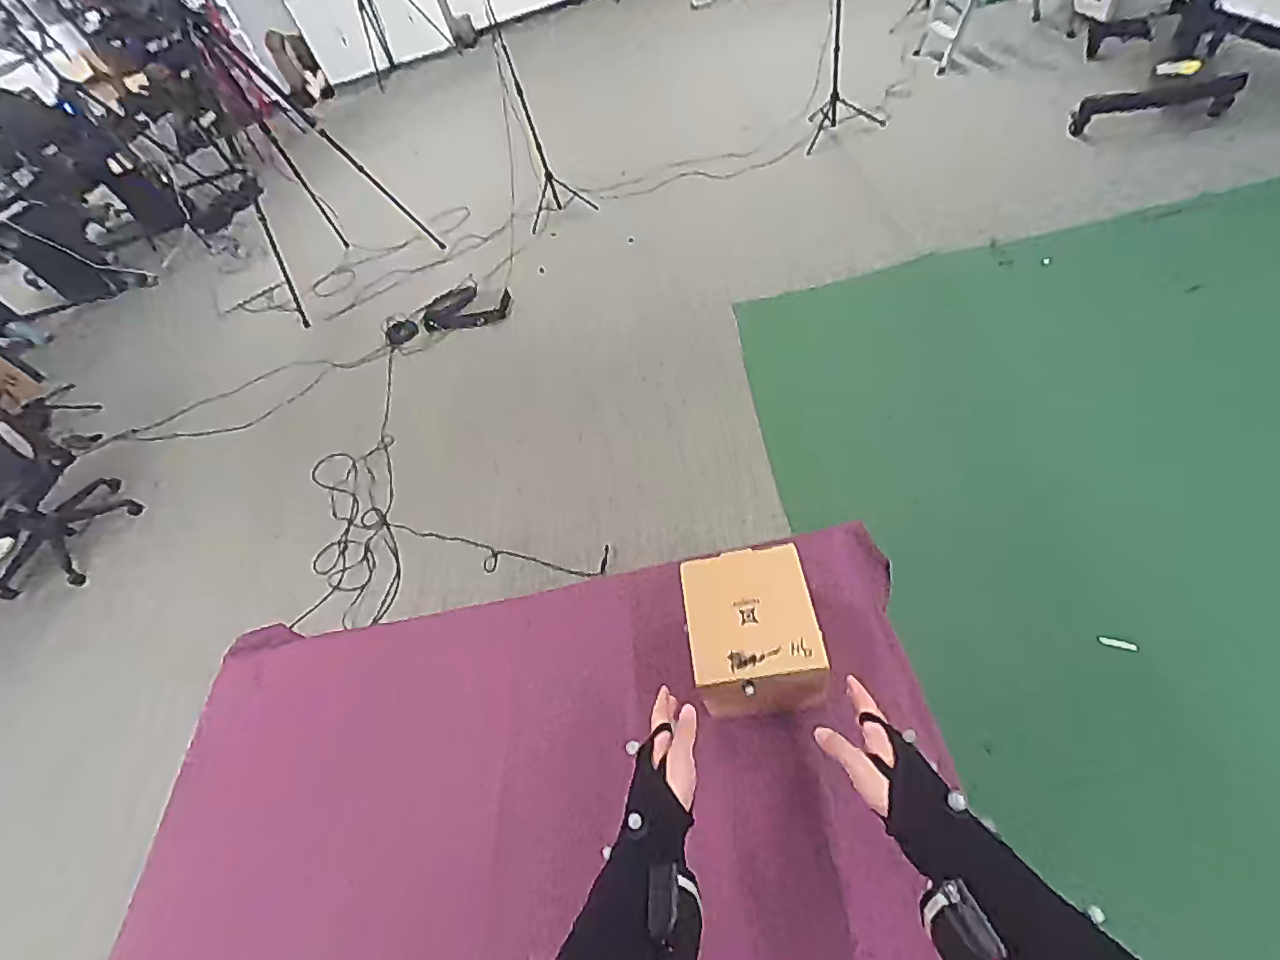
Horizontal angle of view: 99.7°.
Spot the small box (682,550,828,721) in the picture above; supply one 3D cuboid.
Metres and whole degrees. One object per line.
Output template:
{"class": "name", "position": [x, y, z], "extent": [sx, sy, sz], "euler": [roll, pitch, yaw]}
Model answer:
{"class": "small box", "position": [0.161, 0.226, 0.773], "extent": [0.168, 0.176, 0.179], "euler": [-11, 52, 9]}
